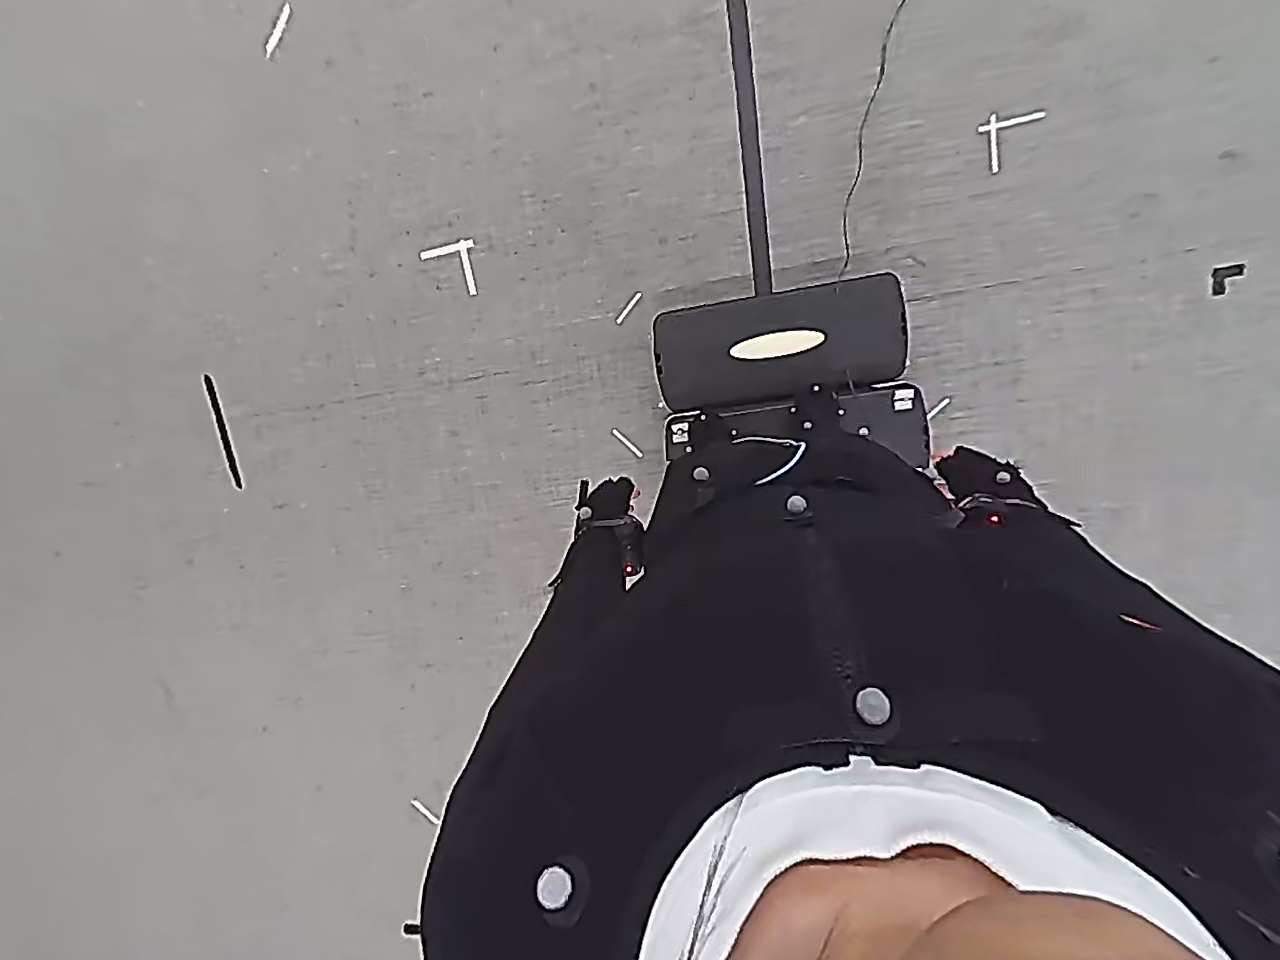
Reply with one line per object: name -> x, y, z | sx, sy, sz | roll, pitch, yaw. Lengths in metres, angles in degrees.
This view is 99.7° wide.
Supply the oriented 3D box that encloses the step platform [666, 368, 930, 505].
step platform -> 0.416, -0.115, 1.493 | 0.684, 0.204, 0.286 | -8, 98, 11
